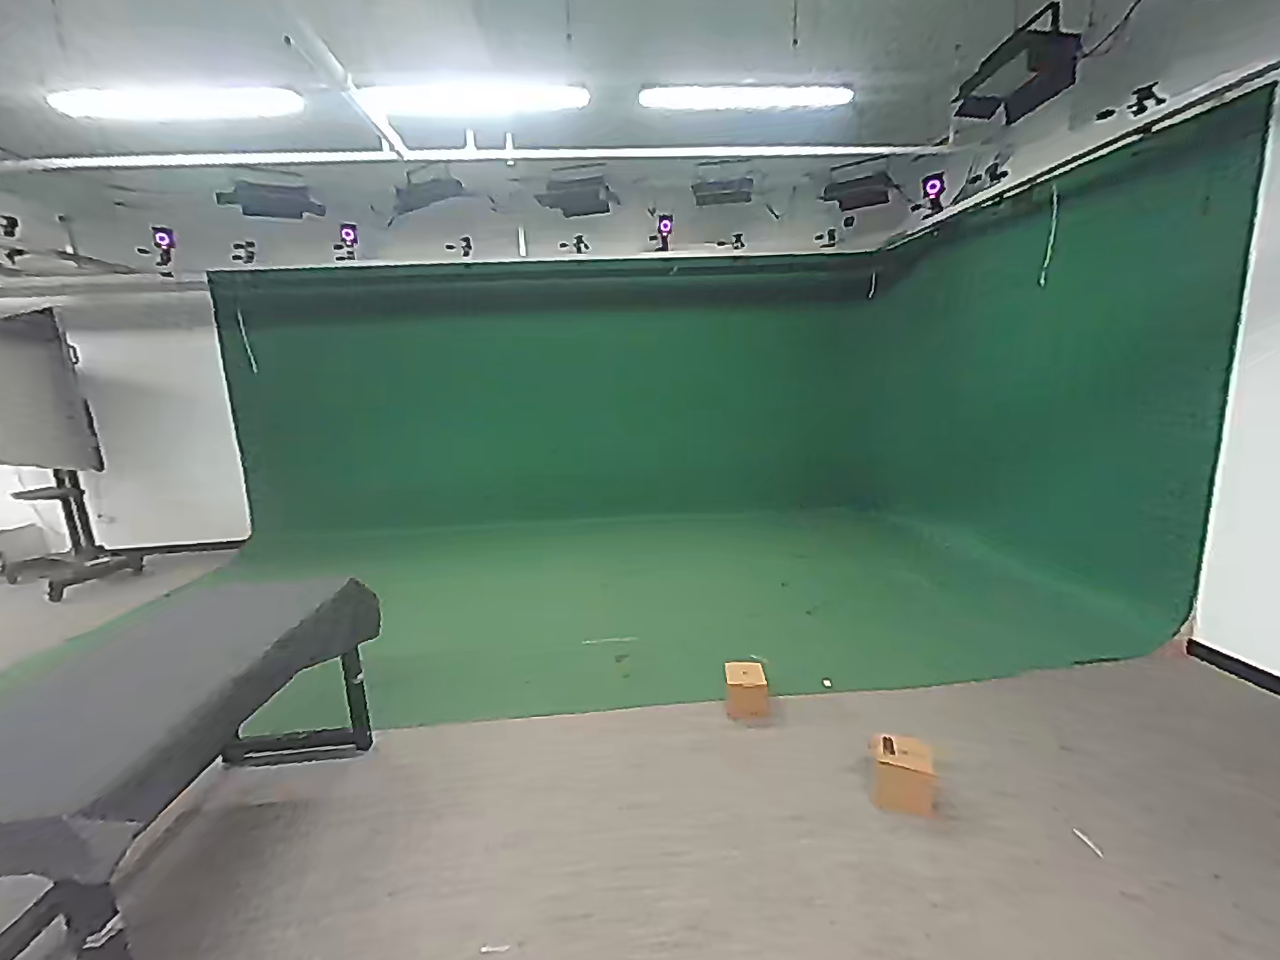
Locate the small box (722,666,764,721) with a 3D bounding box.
[{"bbox_3d":[0.455,0.943,2.389,0.168,0.176,0.179,0,10,3],"label":"small box"}]
